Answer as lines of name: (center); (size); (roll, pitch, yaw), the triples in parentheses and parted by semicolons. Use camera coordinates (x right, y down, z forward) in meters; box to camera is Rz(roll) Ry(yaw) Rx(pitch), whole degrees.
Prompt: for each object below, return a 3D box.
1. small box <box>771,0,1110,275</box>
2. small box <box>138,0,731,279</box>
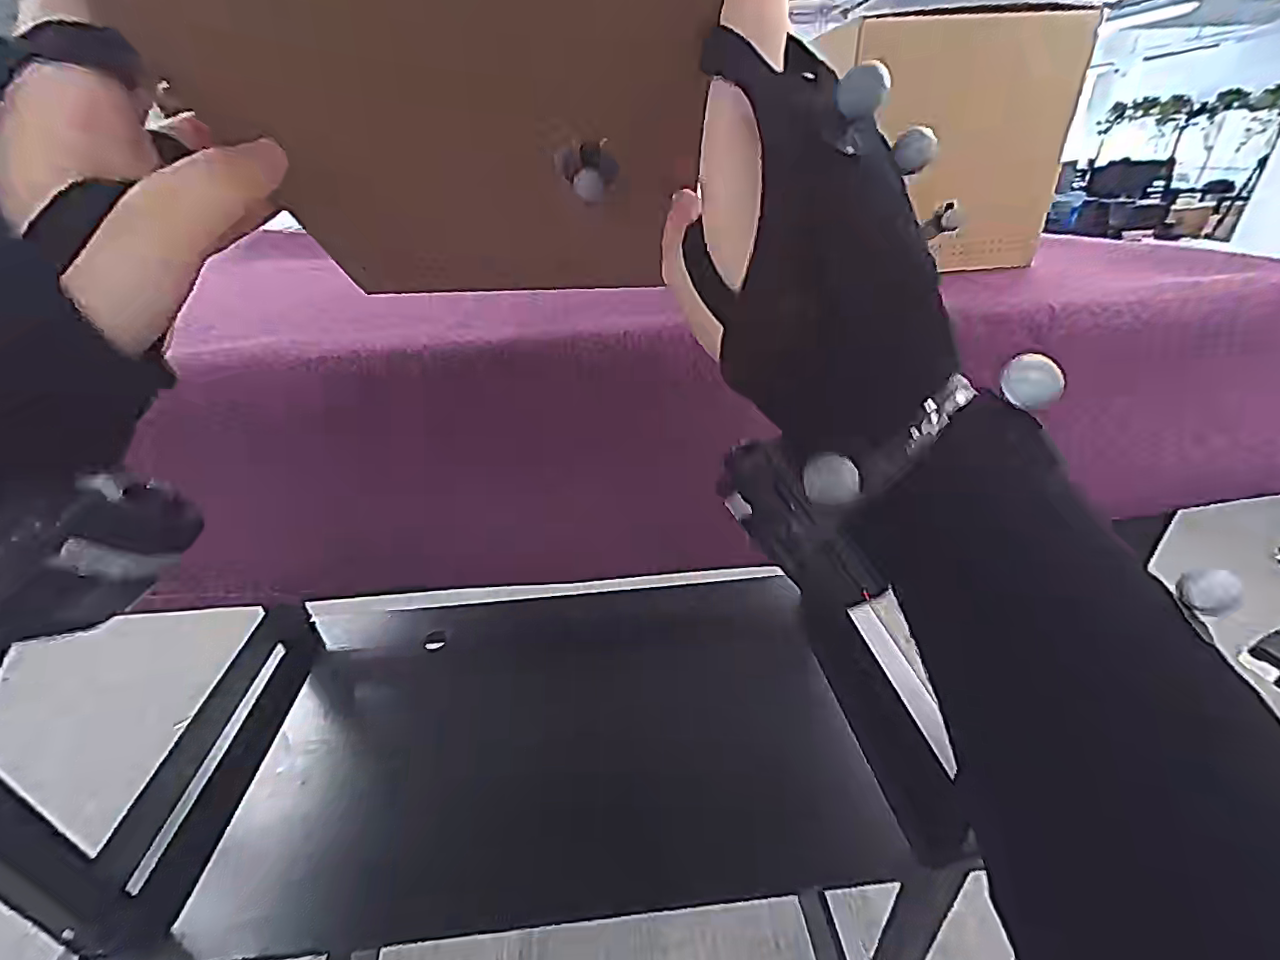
small box: (0.224, -0.279, 0.461); (0.179, 0.176, 0.168); (-5, 29, -5)
small box: (-0.060, -0.205, 0.231); (0.179, 0.168, 0.176); (-1, -14, 0)
